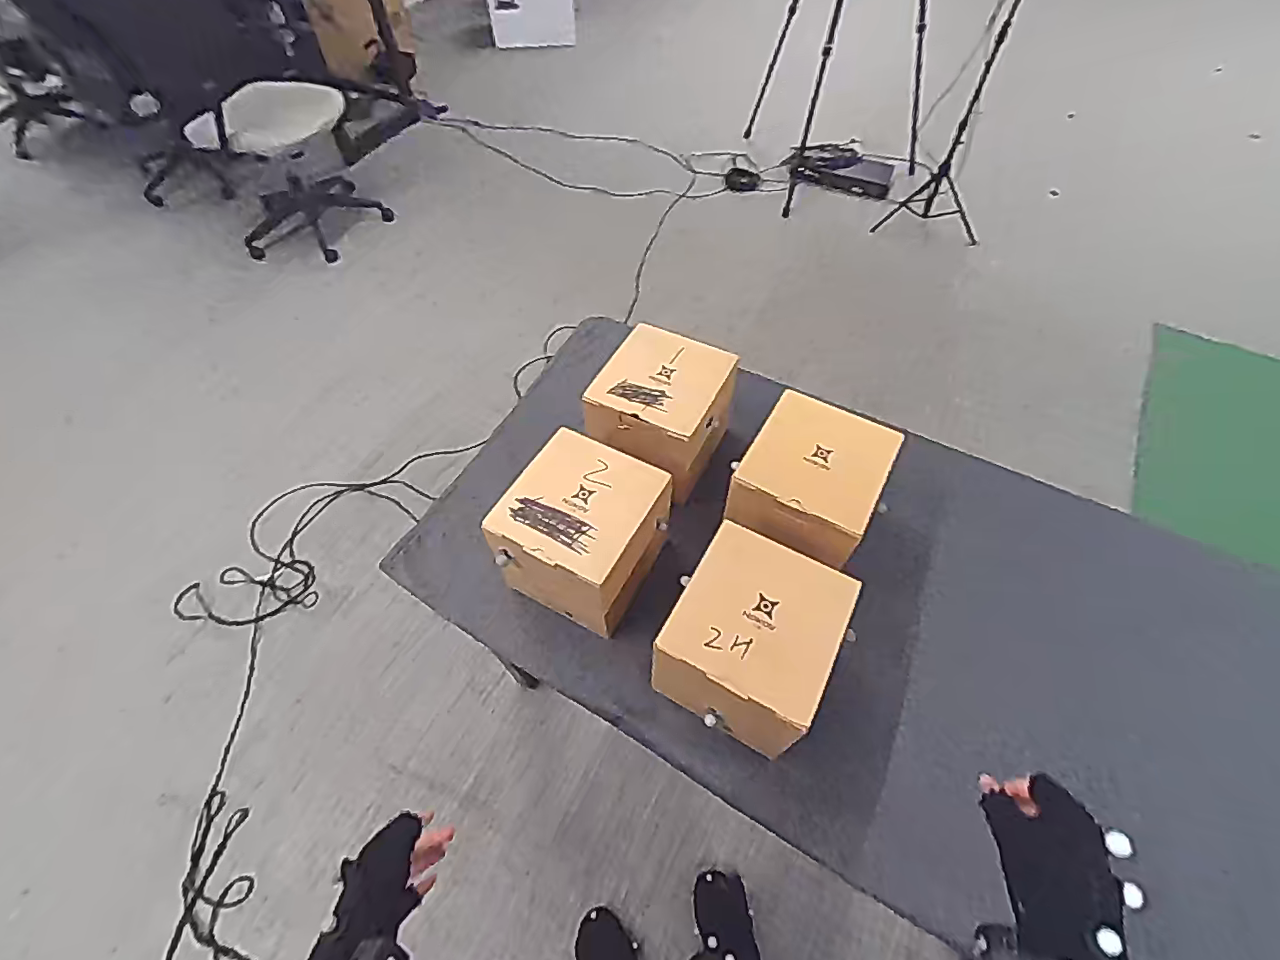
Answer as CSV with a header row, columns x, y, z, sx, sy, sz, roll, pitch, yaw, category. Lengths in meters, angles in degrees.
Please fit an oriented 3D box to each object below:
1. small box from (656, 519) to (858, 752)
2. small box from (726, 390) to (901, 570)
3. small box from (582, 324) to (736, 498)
x,y,z,sx,sy,sz,roll,pitch,yaw,category
0.126,0.184,0.634,0.168,0.176,0.179,25,59,17,small box
0.227,0.015,0.751,0.168,0.176,0.179,26,62,17,small box
0.032,-0.101,0.830,0.168,0.176,0.179,24,59,15,small box
